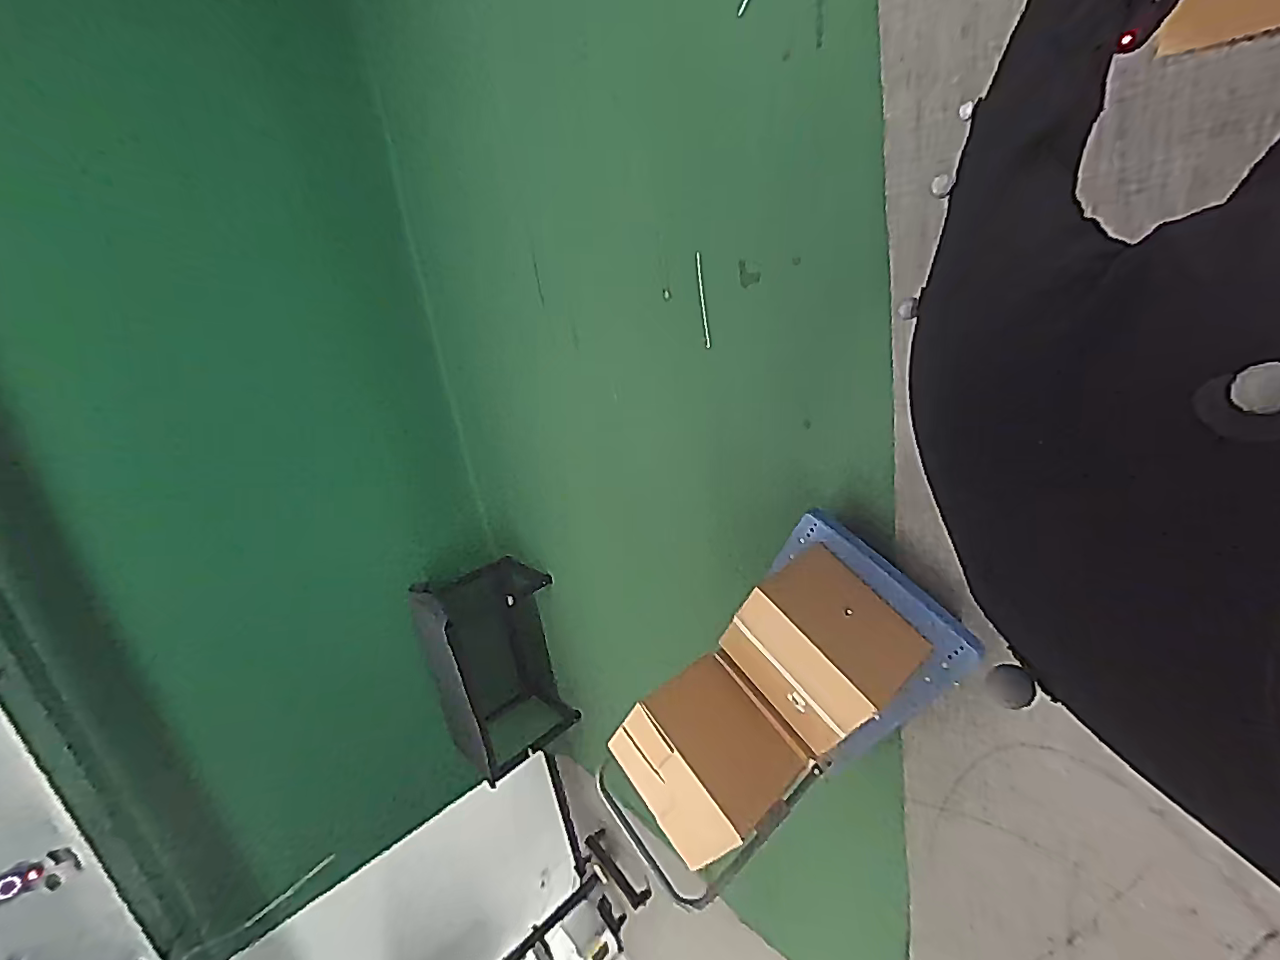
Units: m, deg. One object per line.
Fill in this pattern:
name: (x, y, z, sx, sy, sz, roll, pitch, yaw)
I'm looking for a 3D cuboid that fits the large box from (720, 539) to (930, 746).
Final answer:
large box: (0.511, 0.445, 1.541, 0.408, 0.320, 0.320, 46, 140, 26)
